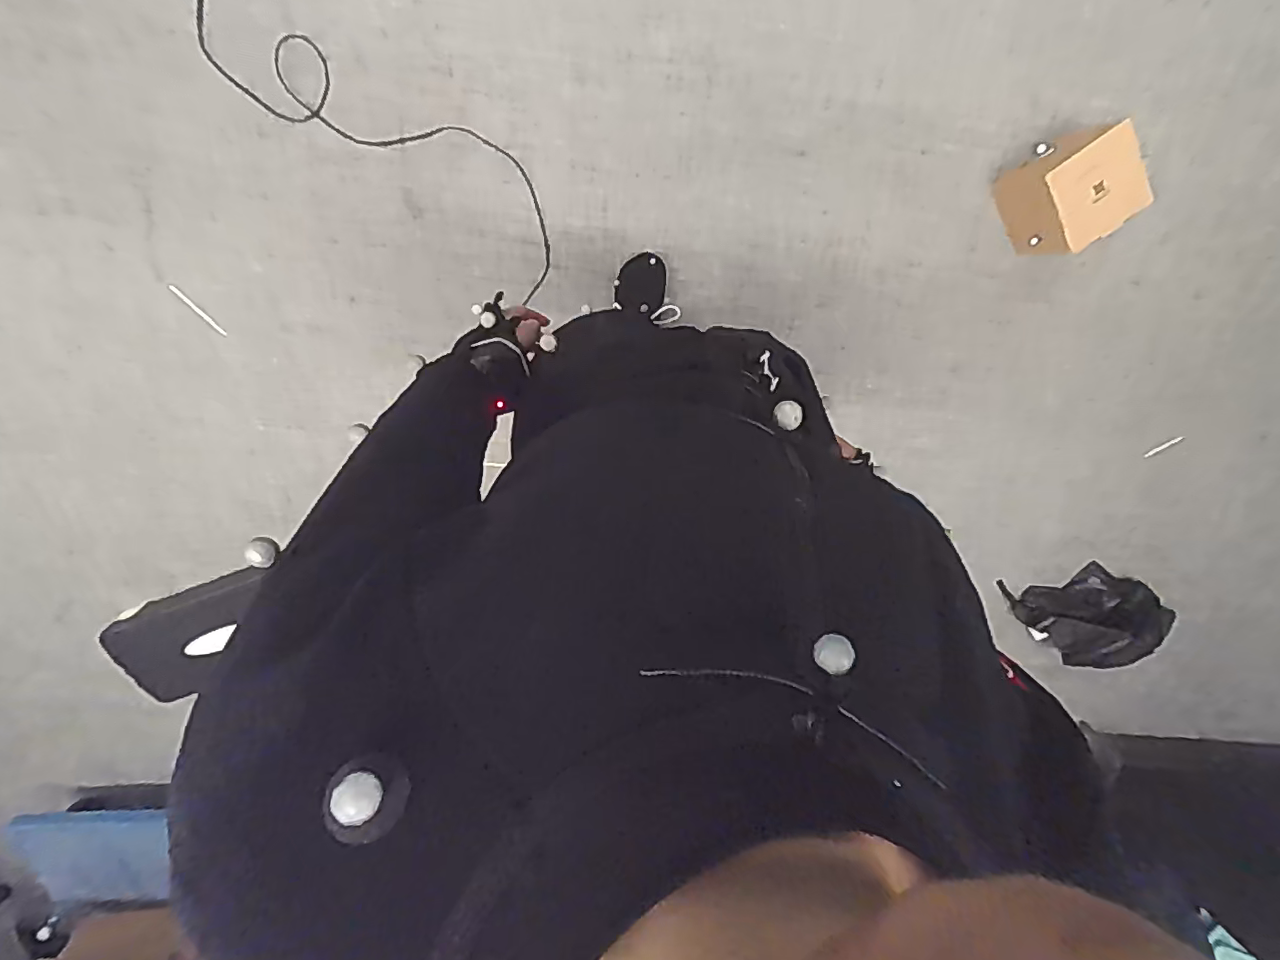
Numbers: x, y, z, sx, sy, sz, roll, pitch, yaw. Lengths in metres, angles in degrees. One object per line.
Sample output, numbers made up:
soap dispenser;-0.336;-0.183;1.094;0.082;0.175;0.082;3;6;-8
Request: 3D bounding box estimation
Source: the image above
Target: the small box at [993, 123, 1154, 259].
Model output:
small box;0.869;-0.576;1.098;0.168;0.176;0.179;-35;109;11
